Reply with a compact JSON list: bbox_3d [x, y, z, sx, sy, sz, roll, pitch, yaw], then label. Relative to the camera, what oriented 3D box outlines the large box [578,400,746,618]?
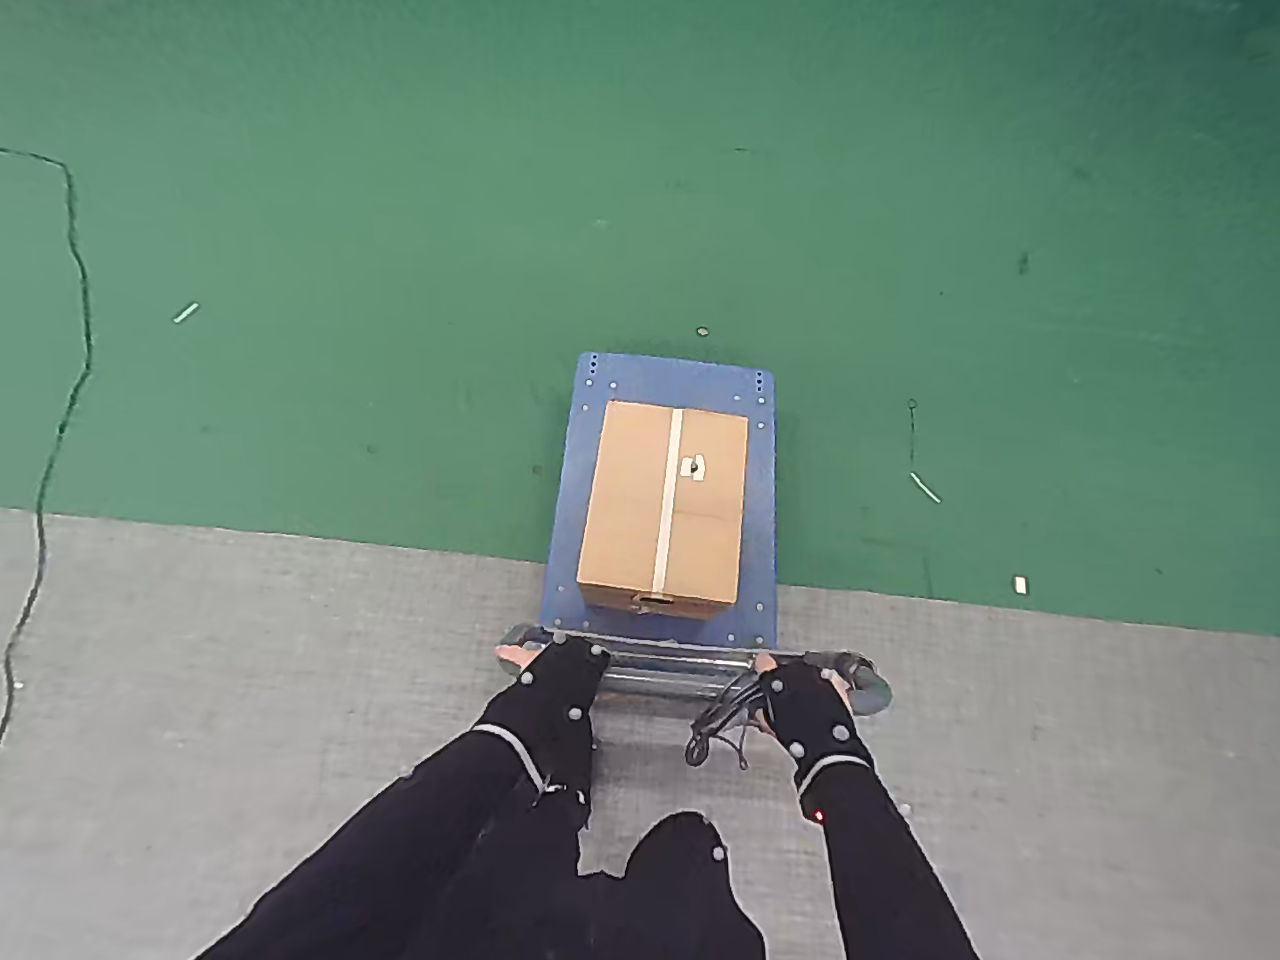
[{"bbox_3d":[0.049,0.082,1.234,0.320,0.320,0.408,8,69,0],"label":"large box"}]
